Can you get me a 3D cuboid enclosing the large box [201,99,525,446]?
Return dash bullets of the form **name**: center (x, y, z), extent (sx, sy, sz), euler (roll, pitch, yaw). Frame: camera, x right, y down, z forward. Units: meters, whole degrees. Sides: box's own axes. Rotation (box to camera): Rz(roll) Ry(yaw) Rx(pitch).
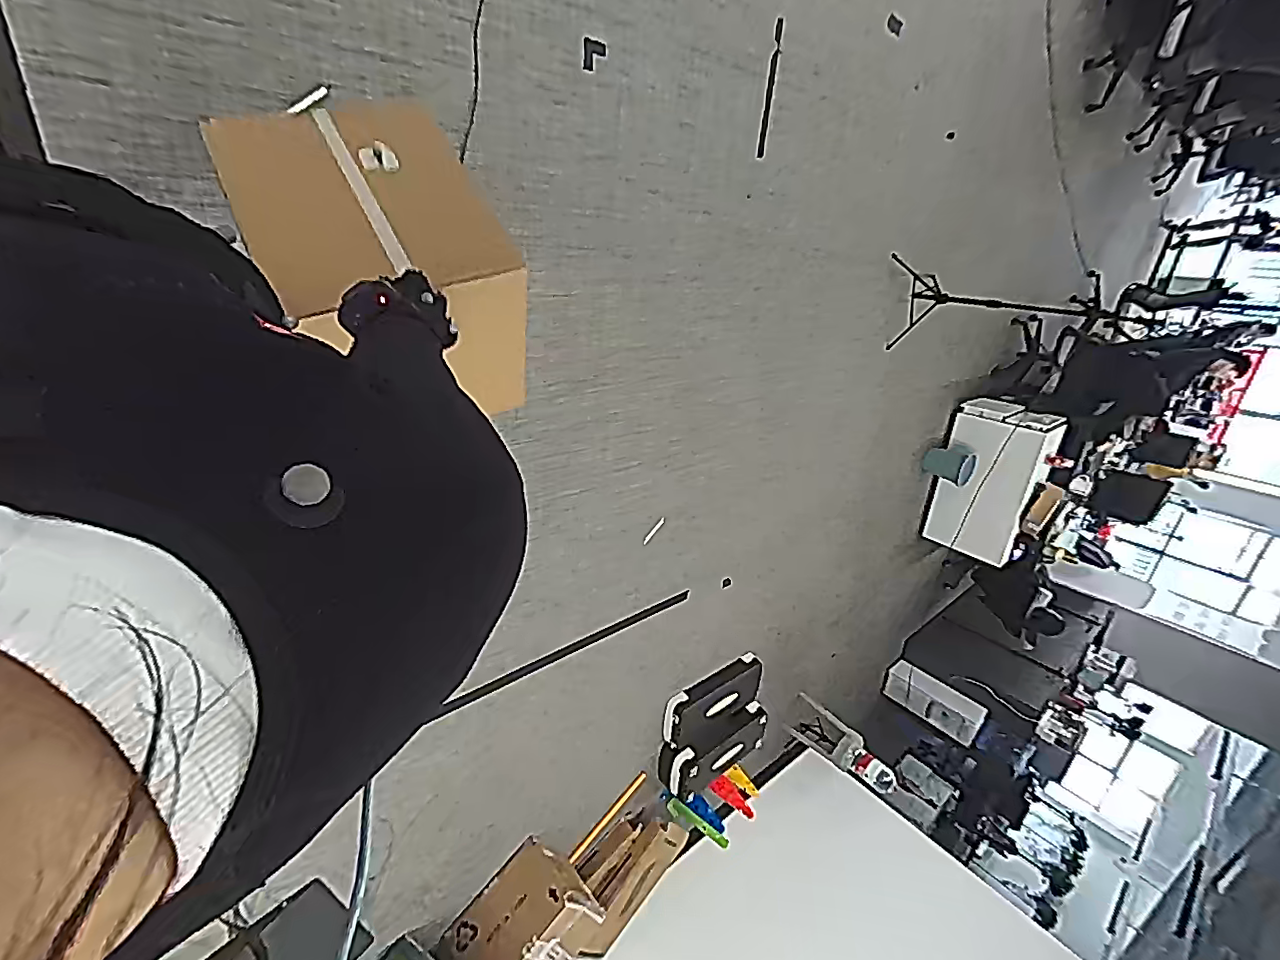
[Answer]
- **large box**: center (-0.413, -0.333, 0.881), extent (0.320, 0.408, 0.320), euler (-24, 159, -24)
